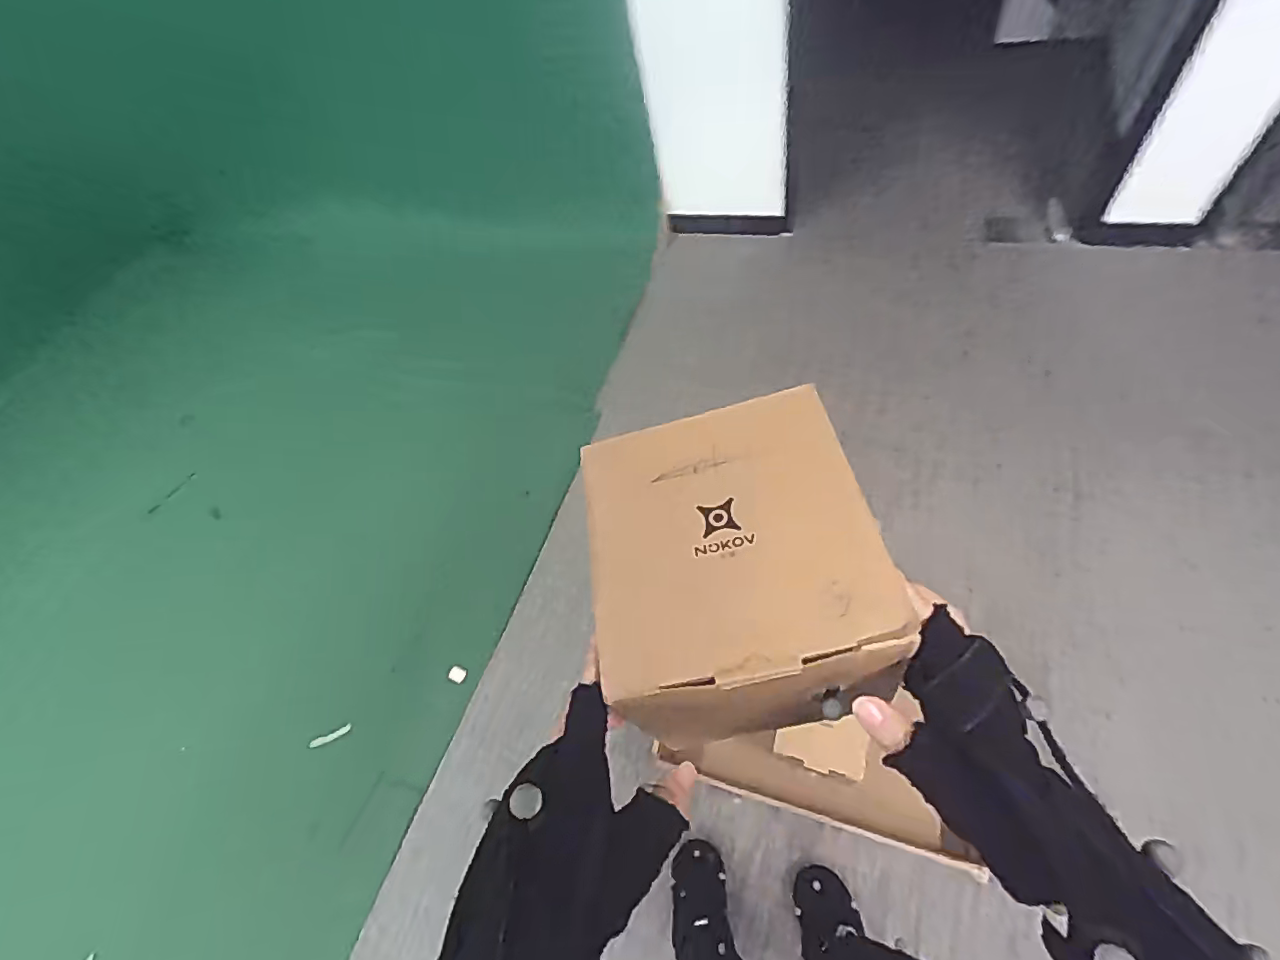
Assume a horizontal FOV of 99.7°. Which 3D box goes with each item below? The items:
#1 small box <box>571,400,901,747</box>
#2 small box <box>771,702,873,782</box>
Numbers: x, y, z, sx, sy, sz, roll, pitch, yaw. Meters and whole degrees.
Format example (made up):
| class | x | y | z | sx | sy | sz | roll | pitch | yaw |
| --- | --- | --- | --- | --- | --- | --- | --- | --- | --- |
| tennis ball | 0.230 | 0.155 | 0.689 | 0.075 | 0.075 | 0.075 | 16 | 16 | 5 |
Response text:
| class | x | y | z | sx | sy | sz | roll | pitch | yaw |
| --- | --- | --- | --- | --- | --- | --- | --- | --- | --- |
| small box | 0.063 | 0.079 | 0.388 | 0.168 | 0.176 | 0.179 | -17 | 53 | 7 |
| small box | 0.376 | 0.505 | 1.121 | 0.168 | 0.176 | 0.179 | 12 | 64 | 21 |
